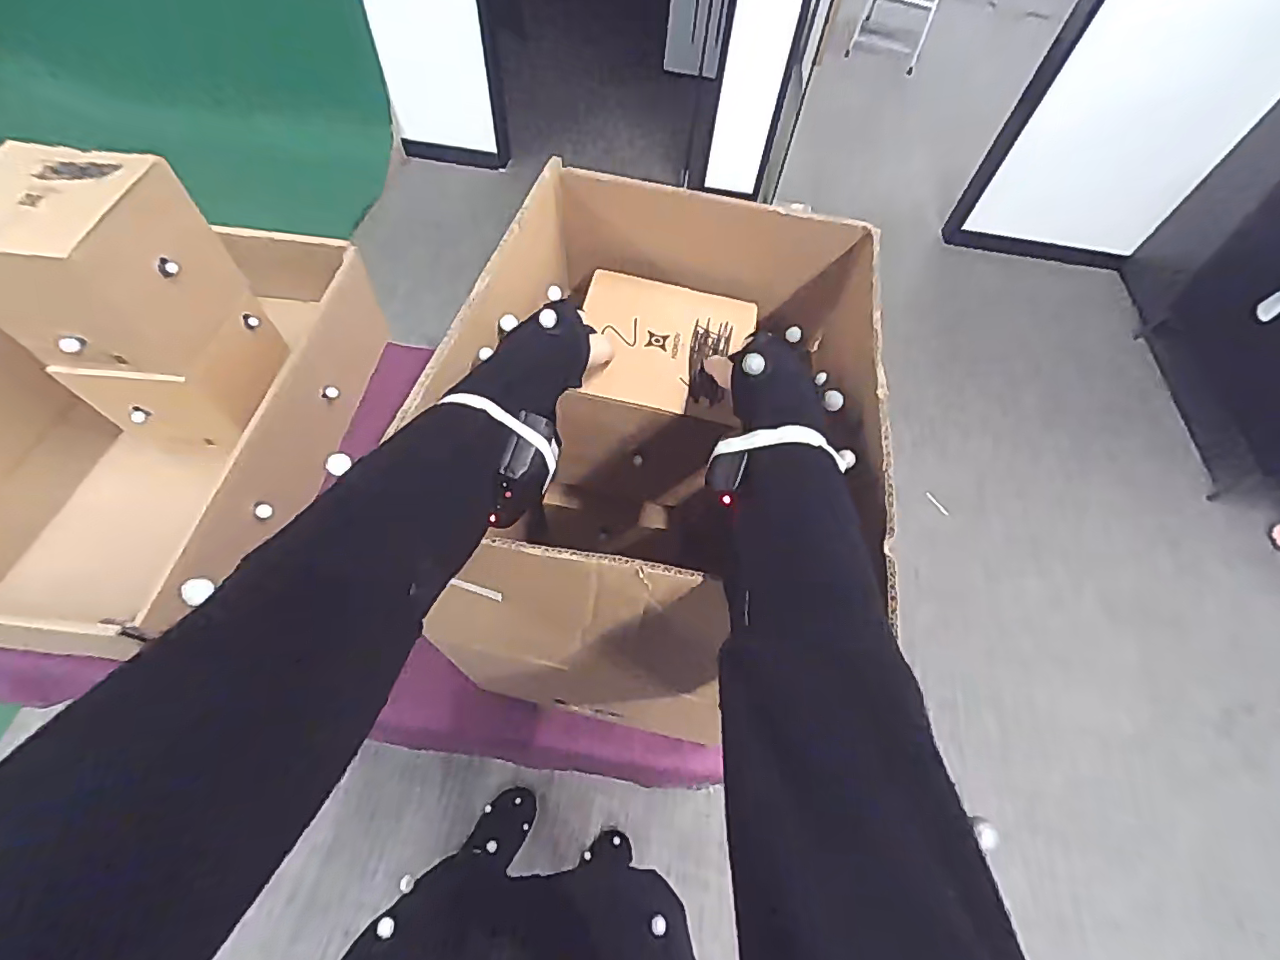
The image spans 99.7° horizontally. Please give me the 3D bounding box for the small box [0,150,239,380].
[{"bbox_3d":[-0.614,-0.241,0.622,0.168,0.176,0.179,5,60,0],"label":"small box"}]

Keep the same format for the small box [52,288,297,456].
[{"bbox_3d":[-0.624,-0.149,0.759,0.168,0.176,0.179,4,59,-1],"label":"small box"}]
